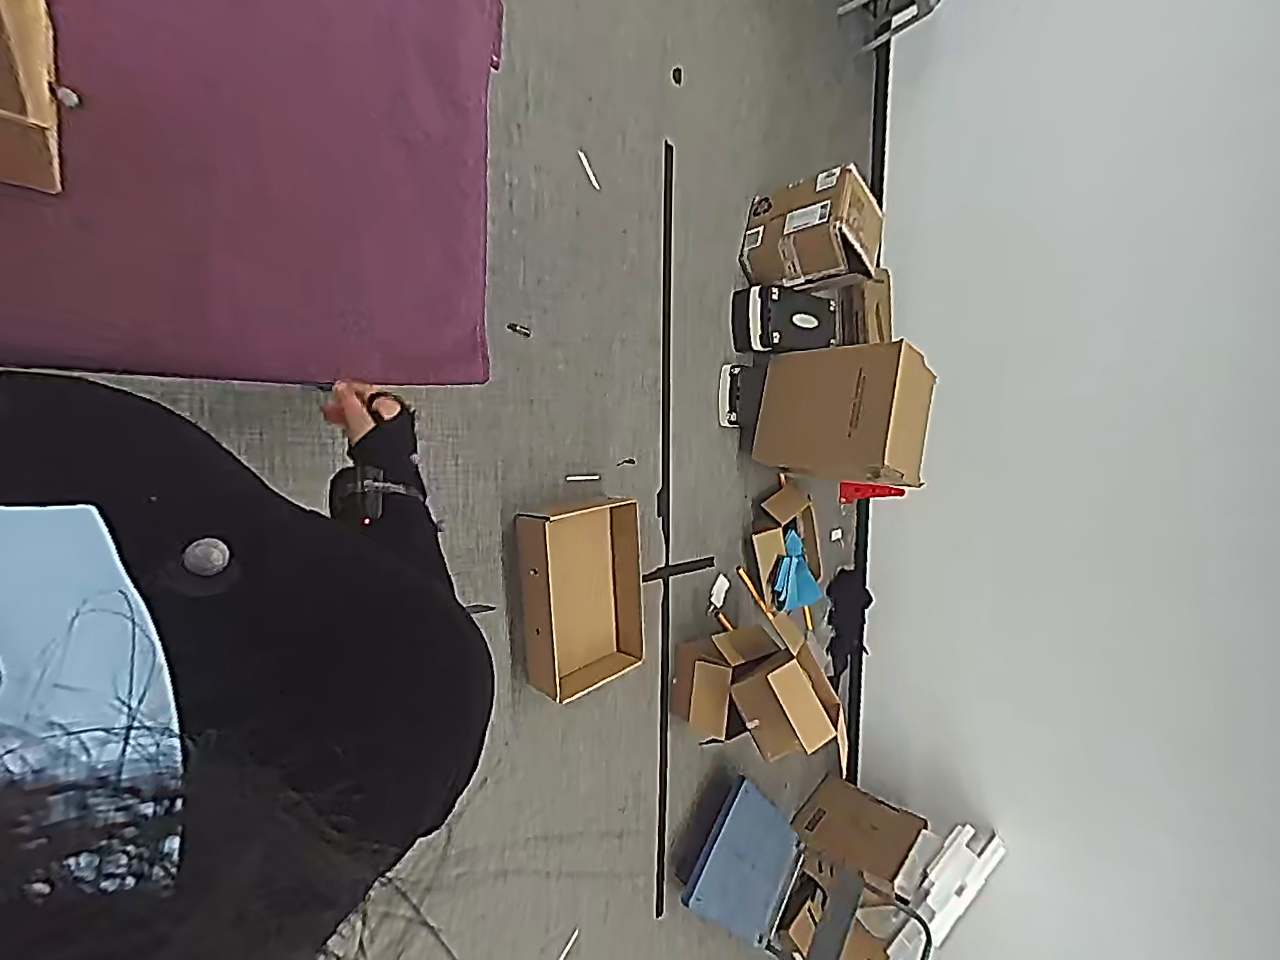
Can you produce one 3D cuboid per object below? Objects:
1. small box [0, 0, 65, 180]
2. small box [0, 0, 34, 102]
[{"bbox_3d":[-0.582,-0.364,0.423,0.179,0.176,0.168,-3,96,-44],"label":"small box"},{"bbox_3d":[-0.471,-0.361,0.301,0.168,0.176,0.179,-3,95,-45],"label":"small box"}]
